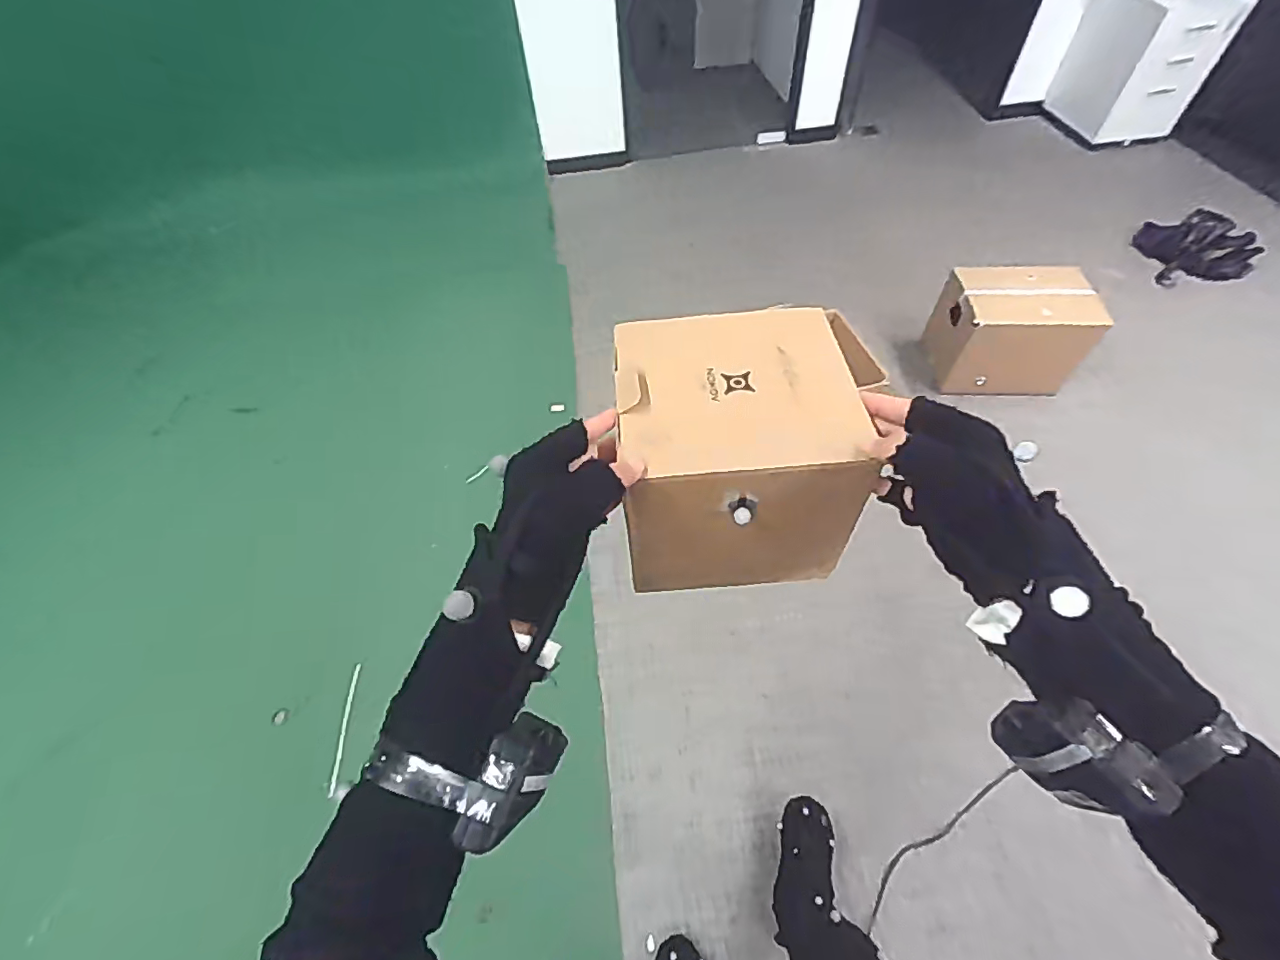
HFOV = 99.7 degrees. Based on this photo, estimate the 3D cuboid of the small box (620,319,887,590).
[{"bbox_3d":[0.079,-0.016,0.470,0.179,0.176,0.168,-4,52,0],"label":"small box"}]
